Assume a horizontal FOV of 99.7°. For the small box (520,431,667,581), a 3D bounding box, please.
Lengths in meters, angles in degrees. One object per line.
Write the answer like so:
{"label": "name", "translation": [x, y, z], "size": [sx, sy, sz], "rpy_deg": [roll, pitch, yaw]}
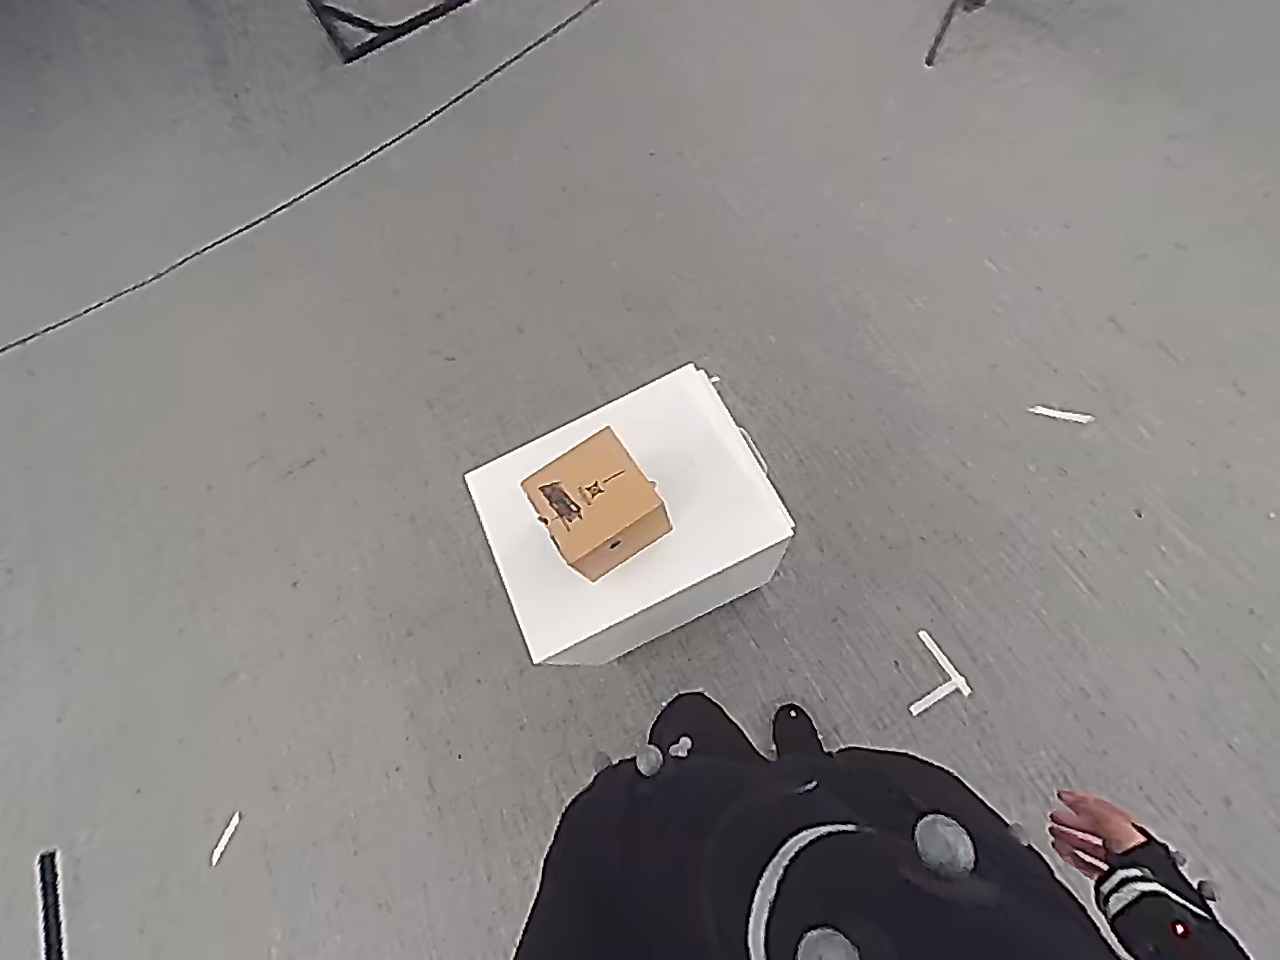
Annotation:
{"label": "small box", "translation": [-0.070, 0.053, 0.925], "size": [0.179, 0.176, 0.168], "rpy_deg": [-33, 69, -4]}
